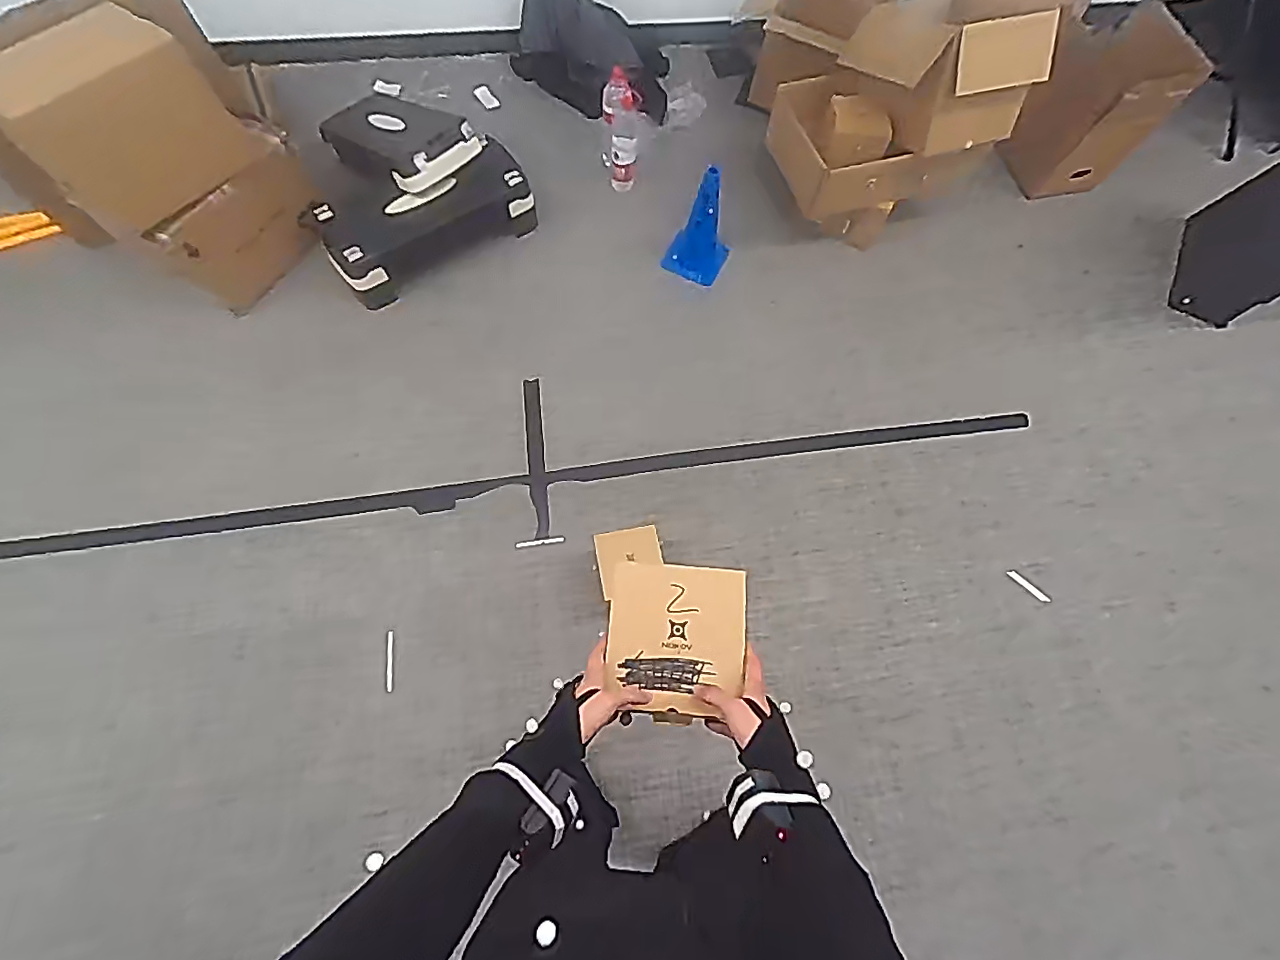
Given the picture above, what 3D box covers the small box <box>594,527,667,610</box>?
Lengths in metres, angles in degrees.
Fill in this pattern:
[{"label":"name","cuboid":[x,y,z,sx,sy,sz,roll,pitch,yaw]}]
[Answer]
[{"label":"small box","cuboid":[-0.031,0.243,1.456,0.168,0.176,0.179,-9,72,-6]}]
